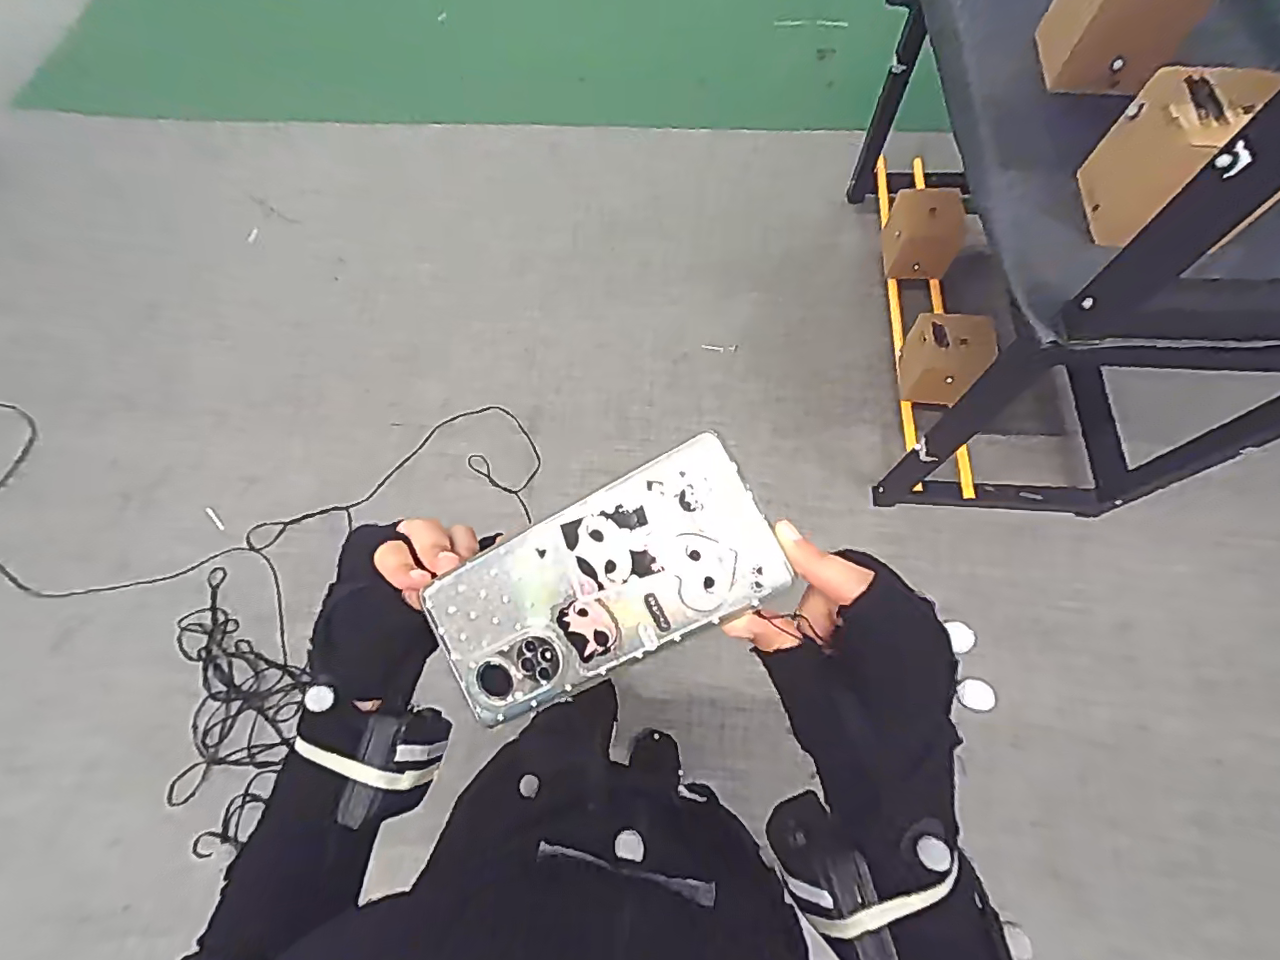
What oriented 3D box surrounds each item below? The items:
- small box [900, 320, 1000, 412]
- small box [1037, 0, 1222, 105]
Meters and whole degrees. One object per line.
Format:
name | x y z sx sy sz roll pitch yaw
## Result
small box | 0.794 -0.292 1.408 0.179 0.176 0.168 6 68 6
small box | 0.835 -0.797 0.944 0.168 0.176 0.179 6 67 6
